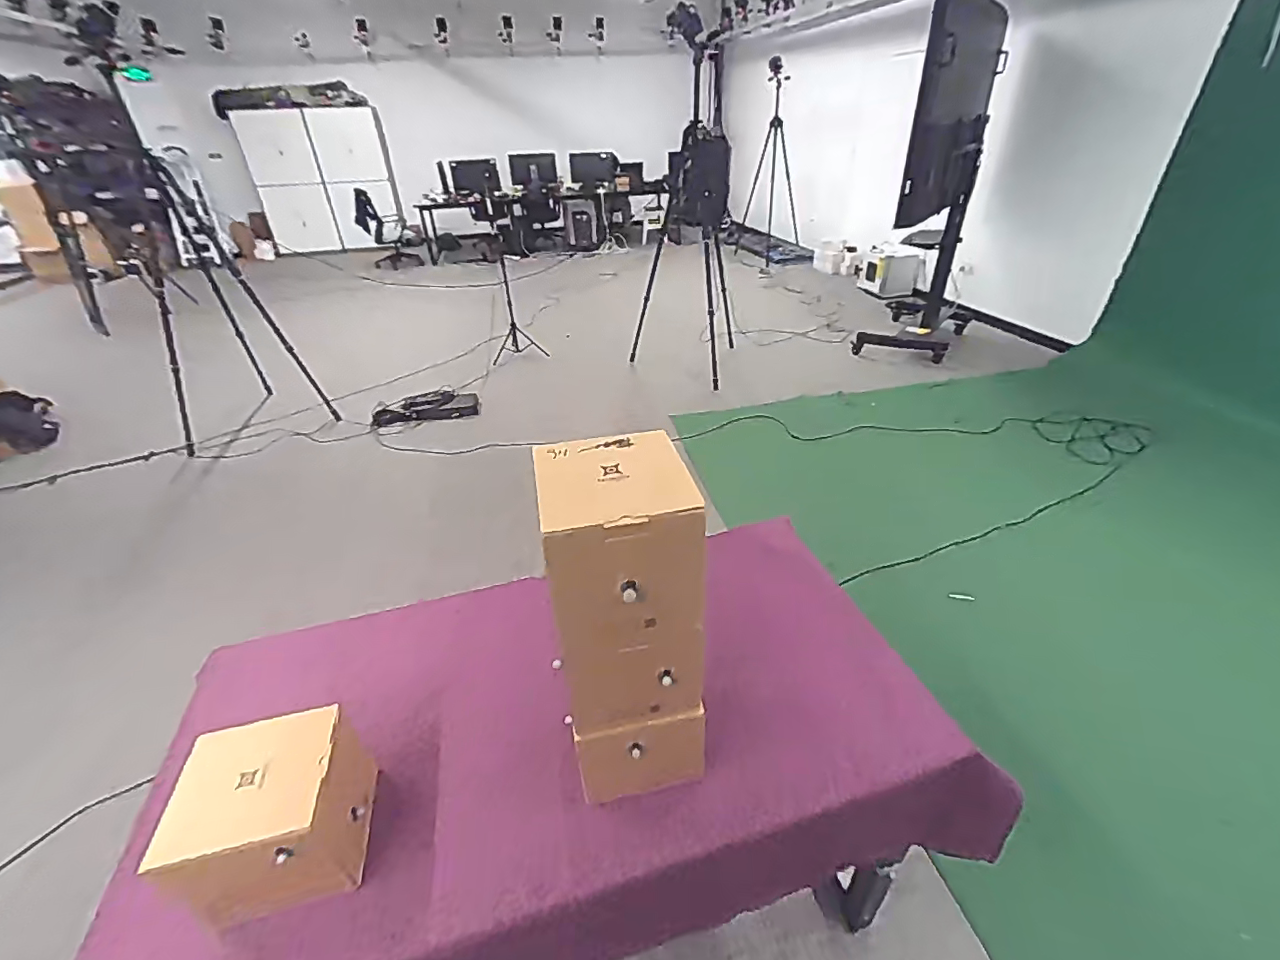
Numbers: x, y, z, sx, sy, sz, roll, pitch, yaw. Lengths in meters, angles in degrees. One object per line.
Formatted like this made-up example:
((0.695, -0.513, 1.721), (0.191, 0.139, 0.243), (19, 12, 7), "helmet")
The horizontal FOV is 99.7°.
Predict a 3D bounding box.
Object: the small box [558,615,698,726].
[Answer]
((-0.020, 0.205, 0.726), (0.168, 0.176, 0.179), (-8, 33, -7), "small box")

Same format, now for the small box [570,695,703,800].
((-0.008, 0.345, 0.807), (0.179, 0.176, 0.168), (-8, 34, -7), "small box")

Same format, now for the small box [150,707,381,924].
((-0.468, 0.439, 0.712), (0.179, 0.176, 0.168), (-10, 33, -11), "small box")

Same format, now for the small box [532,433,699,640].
((-0.031, 0.067, 0.636), (0.168, 0.176, 0.179), (-8, 34, -8), "small box")
